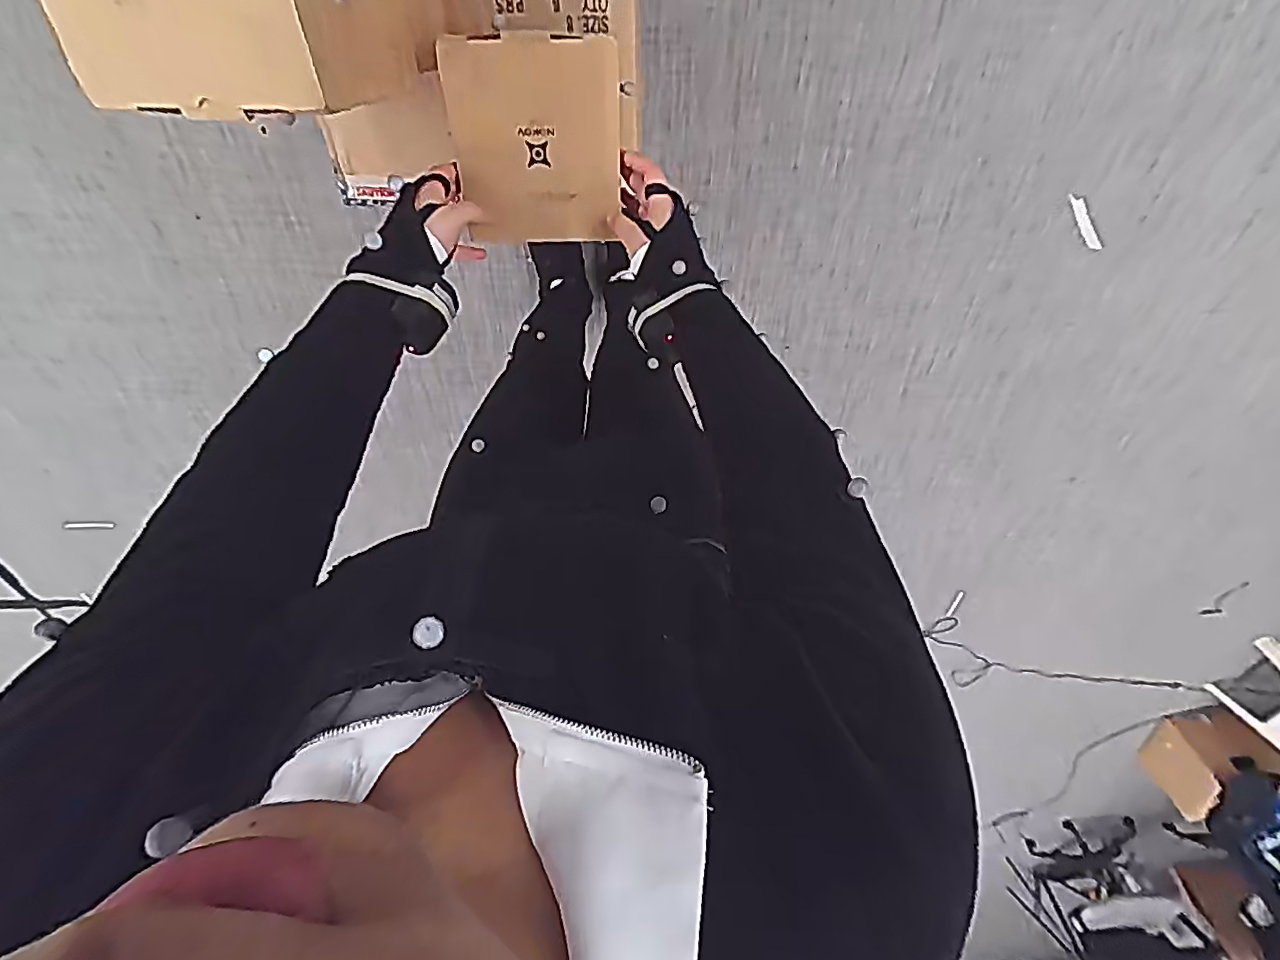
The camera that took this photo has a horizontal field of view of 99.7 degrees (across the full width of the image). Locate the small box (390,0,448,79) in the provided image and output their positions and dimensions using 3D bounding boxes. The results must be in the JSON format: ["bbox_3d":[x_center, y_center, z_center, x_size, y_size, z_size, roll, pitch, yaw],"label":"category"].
[{"bbox_3d":[-0.295,-0.486,0.504,0.168,0.176,0.179,0,130,2],"label":"small box"}]

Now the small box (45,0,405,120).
[{"bbox_3d":[-0.291,-0.374,0.384,0.168,0.176,0.179,1,130,1],"label":"small box"}]

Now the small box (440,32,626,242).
[{"bbox_3d":[-0.101,-0.380,0.598,0.168,0.176,0.179,-2,131,0],"label":"small box"}]
